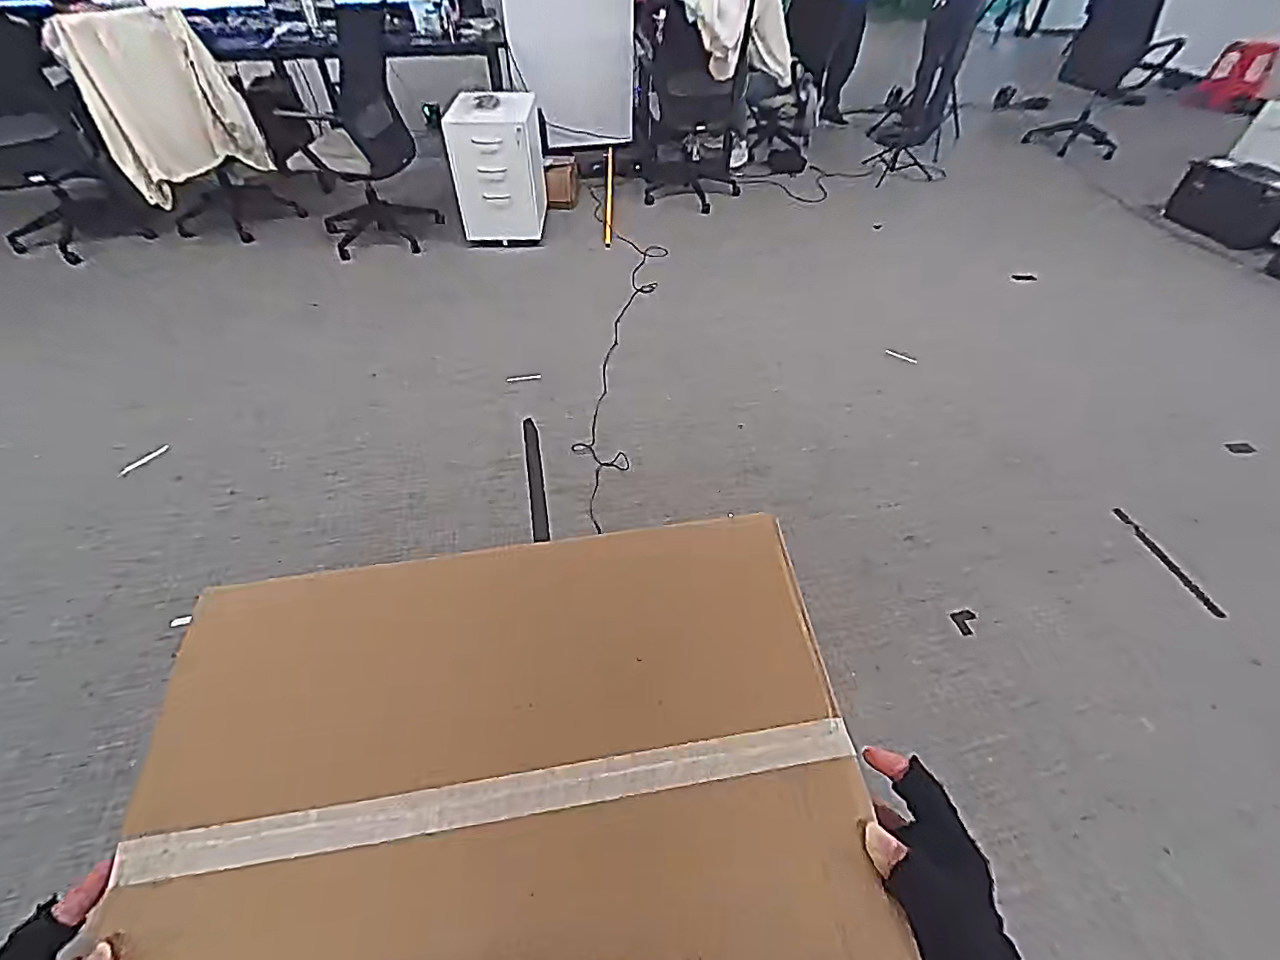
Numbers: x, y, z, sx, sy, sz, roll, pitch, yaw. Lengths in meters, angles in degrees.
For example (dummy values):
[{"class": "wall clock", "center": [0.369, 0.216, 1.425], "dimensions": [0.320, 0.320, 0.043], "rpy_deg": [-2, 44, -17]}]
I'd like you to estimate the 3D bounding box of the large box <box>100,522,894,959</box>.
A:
[{"class": "large box", "center": [-0.081, 0.265, 0.440], "dimensions": [0.408, 0.320, 0.320], "rpy_deg": [-7, 56, -4]}]
